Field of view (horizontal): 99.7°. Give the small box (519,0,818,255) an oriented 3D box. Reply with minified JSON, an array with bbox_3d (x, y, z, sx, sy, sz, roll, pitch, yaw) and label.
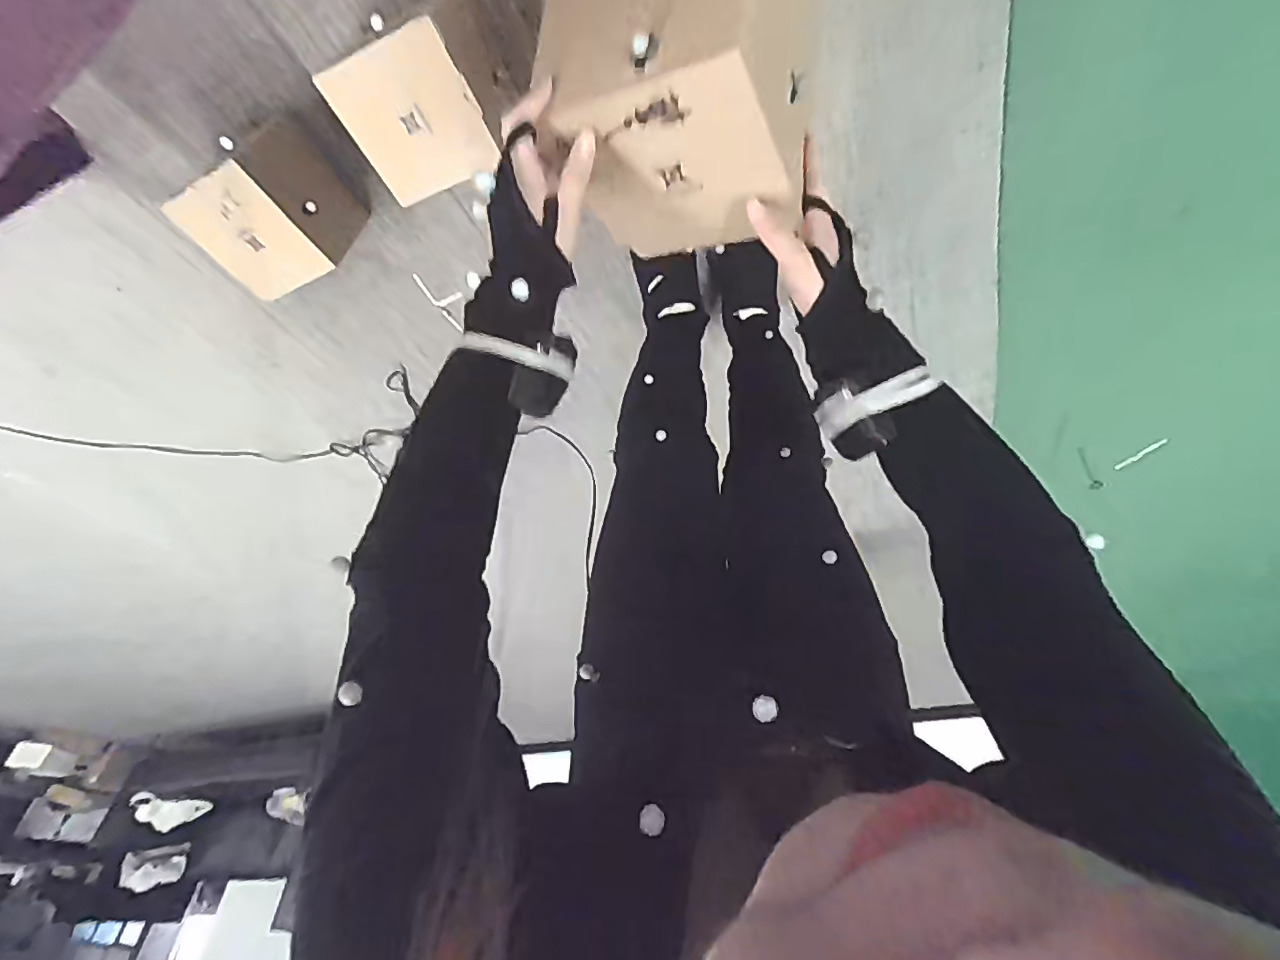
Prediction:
[{"bbox_3d":[0.035,-0.308,0.428,0.168,0.176,0.179,5,173,31],"label":"small box"}]
